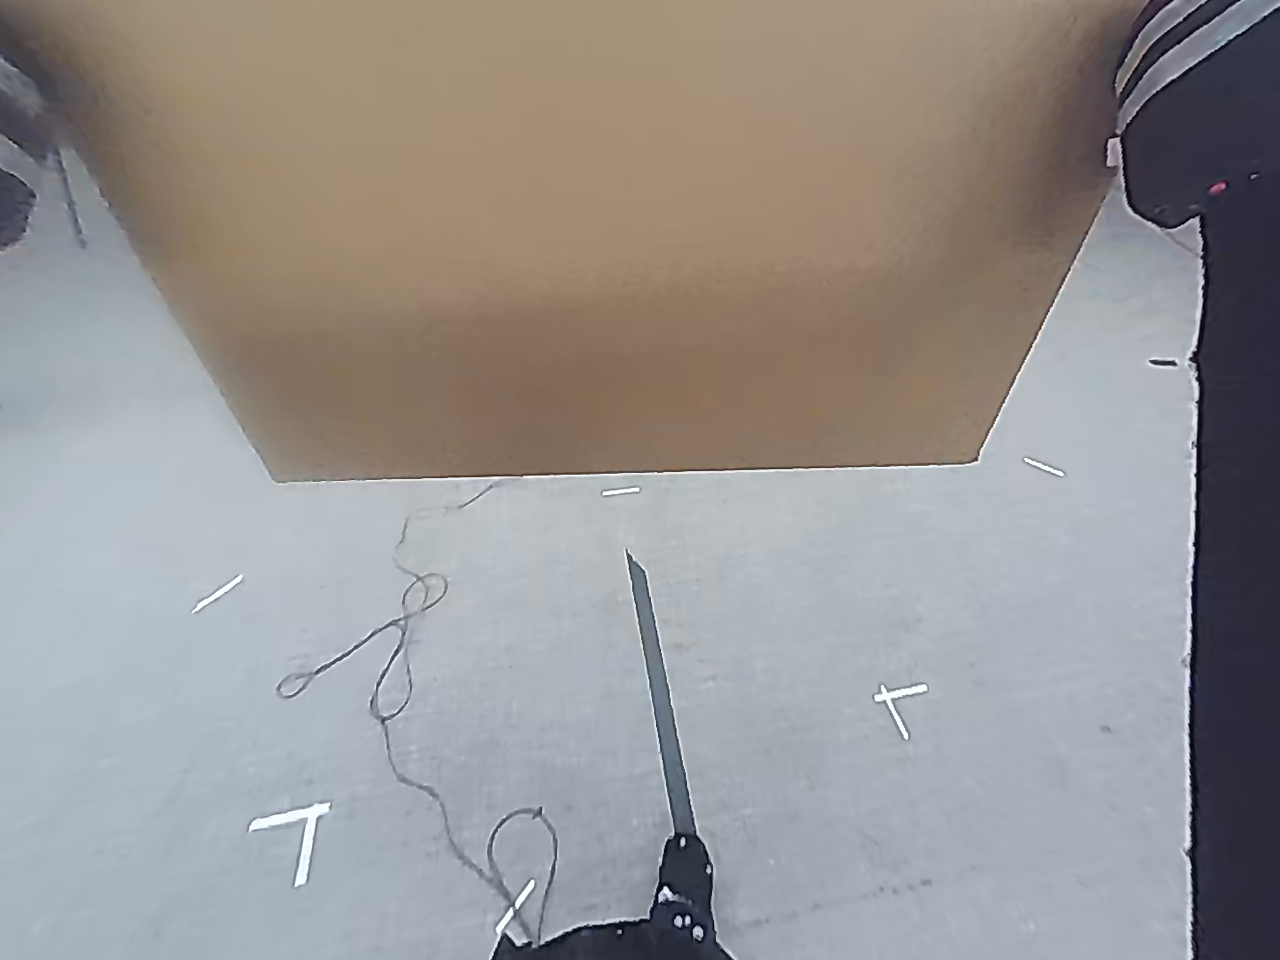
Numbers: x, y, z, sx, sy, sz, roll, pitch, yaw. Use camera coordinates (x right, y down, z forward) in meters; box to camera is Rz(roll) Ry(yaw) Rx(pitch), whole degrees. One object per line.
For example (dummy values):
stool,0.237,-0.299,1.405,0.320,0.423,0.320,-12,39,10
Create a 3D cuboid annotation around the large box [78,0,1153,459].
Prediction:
large box,-0.010,-0.226,0.344,0.408,0.320,0.320,-1,40,-2
